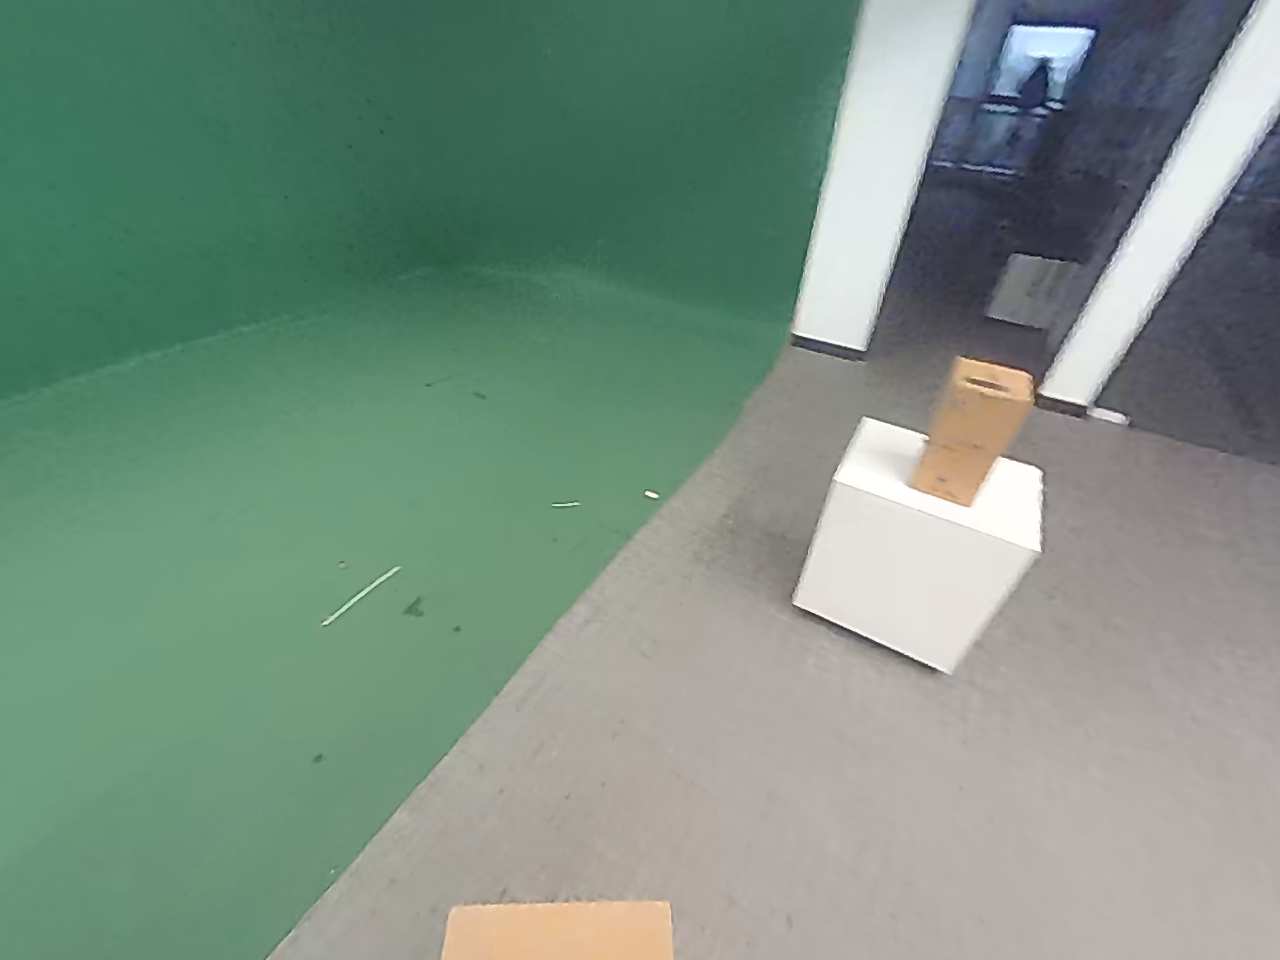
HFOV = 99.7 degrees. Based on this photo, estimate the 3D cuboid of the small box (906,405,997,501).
[{"bbox_3d":[0.852,-0.075,1.487,0.168,0.176,0.179,21,43,22],"label":"small box"}]
